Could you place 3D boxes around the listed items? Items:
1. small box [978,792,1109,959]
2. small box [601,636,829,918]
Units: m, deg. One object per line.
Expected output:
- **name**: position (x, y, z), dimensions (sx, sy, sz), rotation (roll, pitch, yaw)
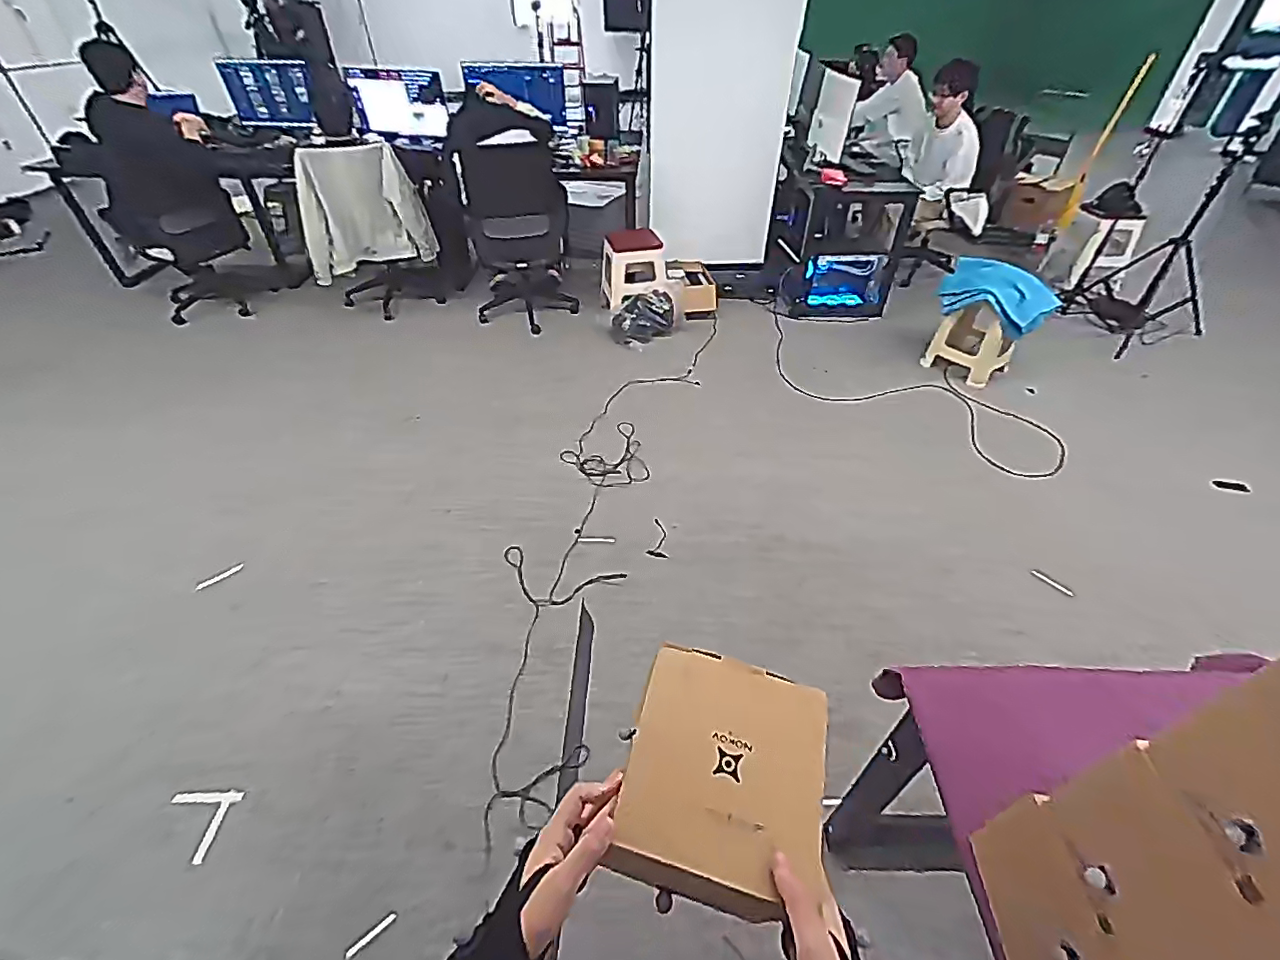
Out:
- **small box**: position (0.491, 0.451, 0.556), dimensions (0.168, 0.176, 0.179), rotation (4, 42, 4)
- **small box**: position (0.066, 0.284, 0.517), dimensions (0.168, 0.176, 0.179), rotation (16, 50, 5)
